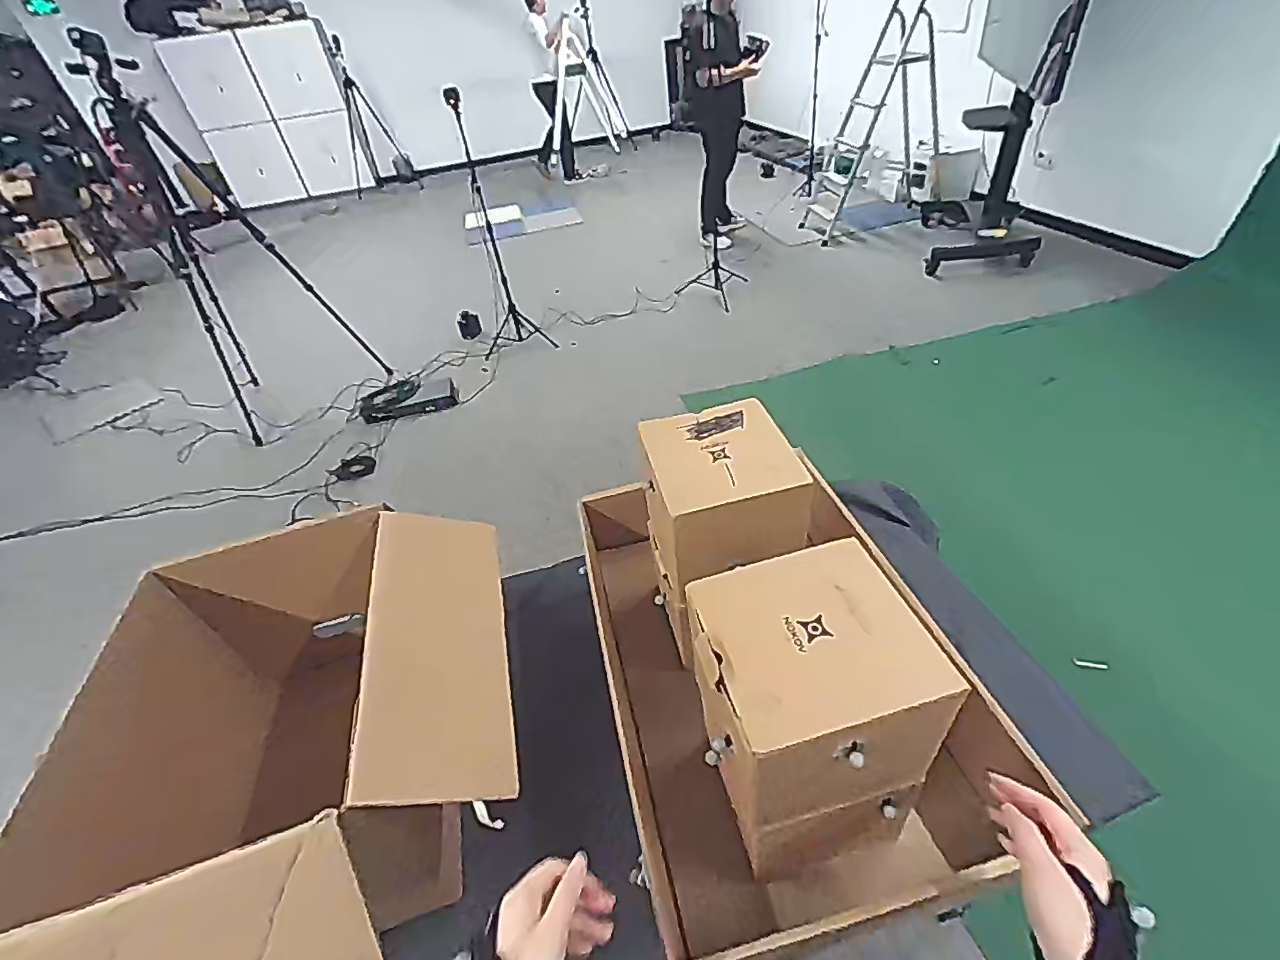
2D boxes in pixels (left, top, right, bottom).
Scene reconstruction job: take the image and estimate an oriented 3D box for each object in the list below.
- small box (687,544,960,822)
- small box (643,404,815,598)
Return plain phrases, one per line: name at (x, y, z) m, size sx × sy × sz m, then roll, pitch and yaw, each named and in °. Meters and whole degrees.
small box at (0.155, 0.193, 0.515) m, size 0.179 × 0.176 × 0.168 m, roll -14°, pitch 42°, yaw -6°
small box at (0.105, 0.029, 0.704) m, size 0.168 × 0.176 × 0.179 m, roll -13°, pitch 44°, yaw -4°
